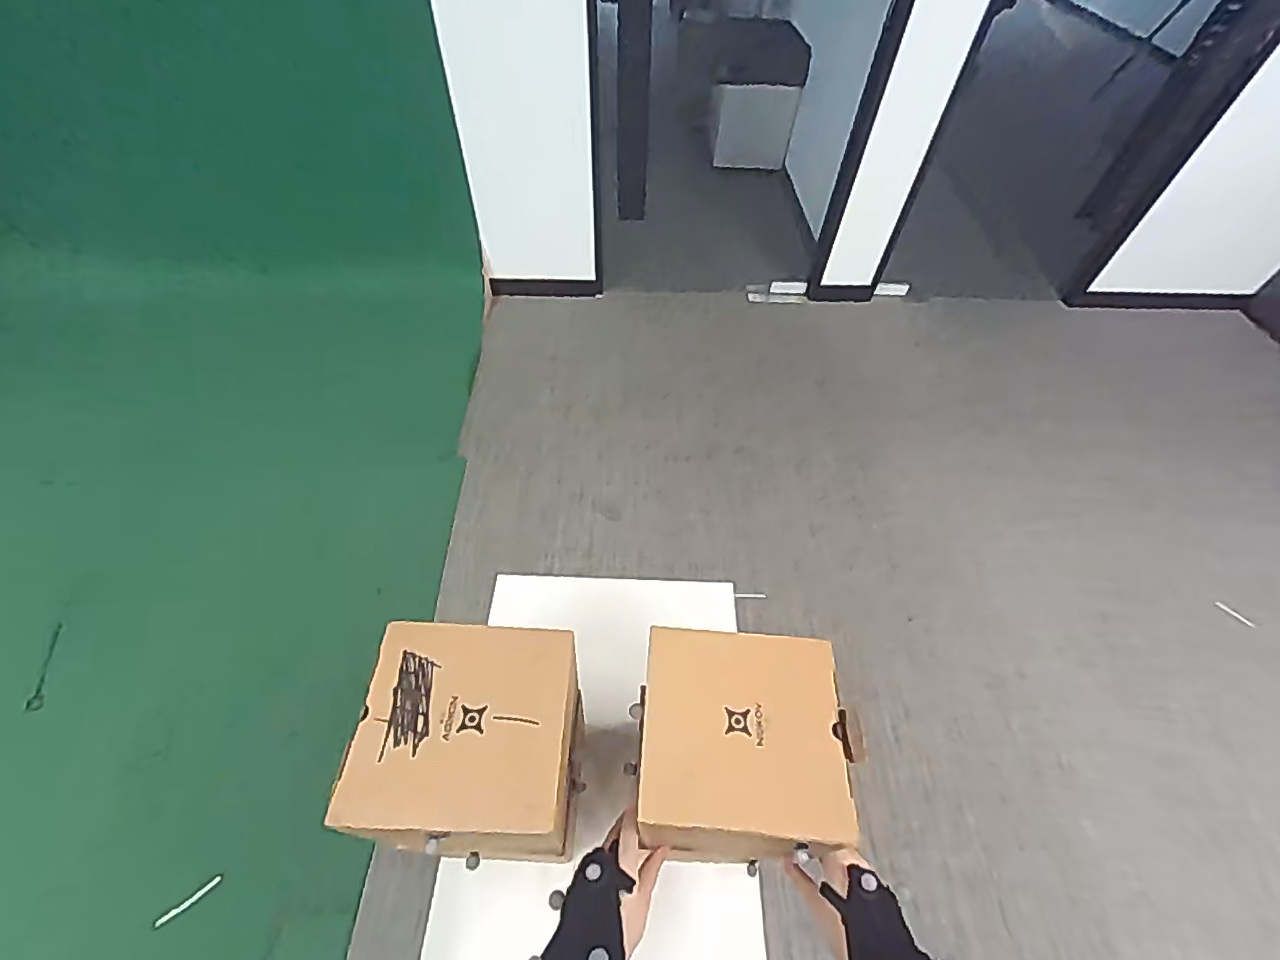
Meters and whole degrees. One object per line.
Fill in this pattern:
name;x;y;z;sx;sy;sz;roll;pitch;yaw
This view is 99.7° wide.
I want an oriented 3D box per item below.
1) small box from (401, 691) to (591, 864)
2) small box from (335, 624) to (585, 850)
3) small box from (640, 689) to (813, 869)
small box;-0.155;0.356;0.652;0.179;0.176;0.168;4;53;-1
small box;-0.148;0.252;0.522;0.179;0.176;0.168;3;53;-2
small box;0.091;0.365;0.656;0.179;0.176;0.168;1;51;1
